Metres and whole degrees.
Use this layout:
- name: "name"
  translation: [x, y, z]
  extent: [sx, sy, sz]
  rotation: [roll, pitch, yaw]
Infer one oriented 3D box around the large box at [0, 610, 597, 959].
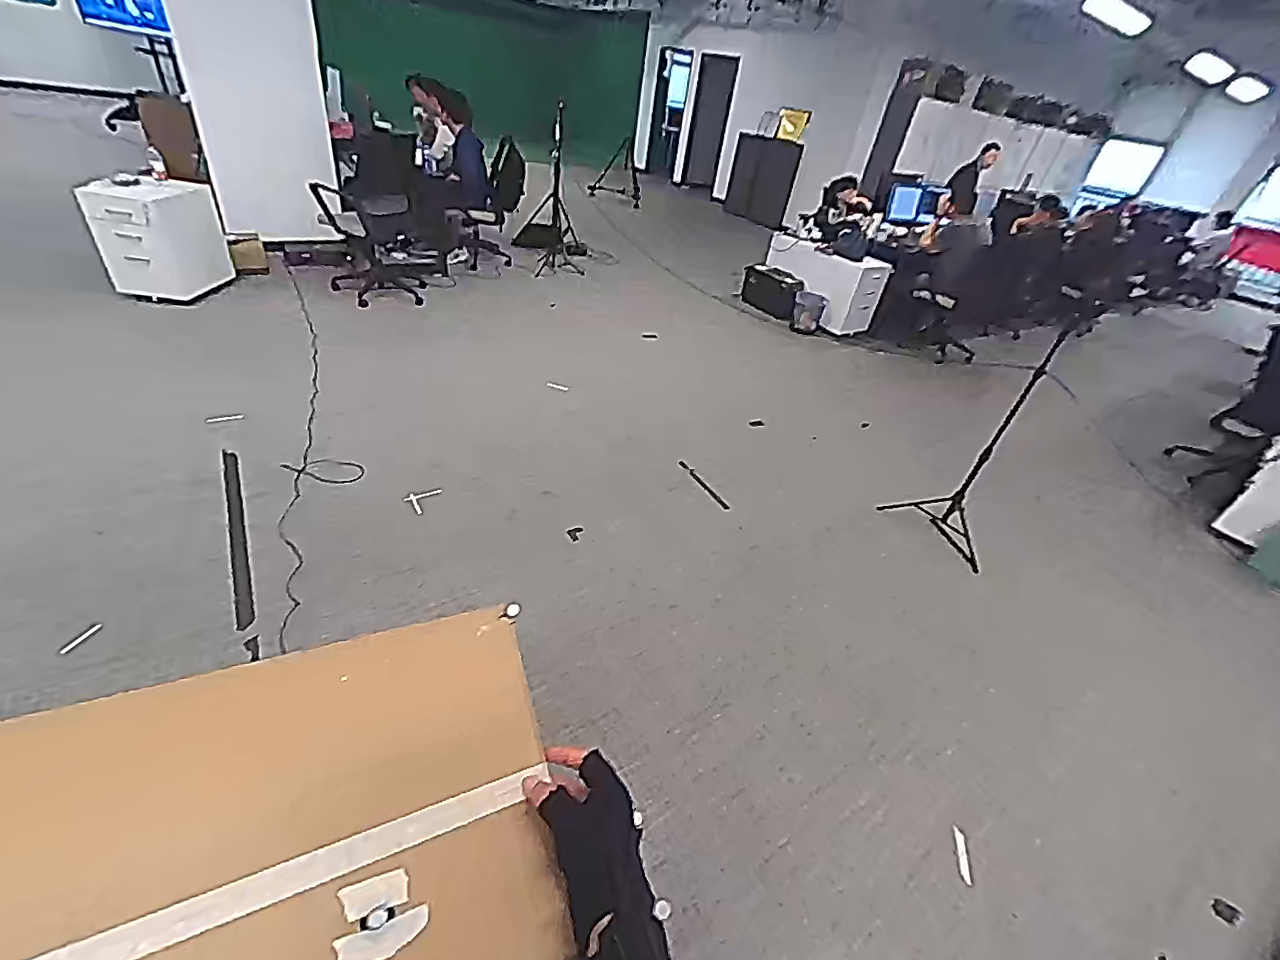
- name: "large box"
  translation: [-0.304, 0.363, 0.512]
  extent: [0.408, 0.320, 0.320]
  rotation: [-8, 63, -26]
